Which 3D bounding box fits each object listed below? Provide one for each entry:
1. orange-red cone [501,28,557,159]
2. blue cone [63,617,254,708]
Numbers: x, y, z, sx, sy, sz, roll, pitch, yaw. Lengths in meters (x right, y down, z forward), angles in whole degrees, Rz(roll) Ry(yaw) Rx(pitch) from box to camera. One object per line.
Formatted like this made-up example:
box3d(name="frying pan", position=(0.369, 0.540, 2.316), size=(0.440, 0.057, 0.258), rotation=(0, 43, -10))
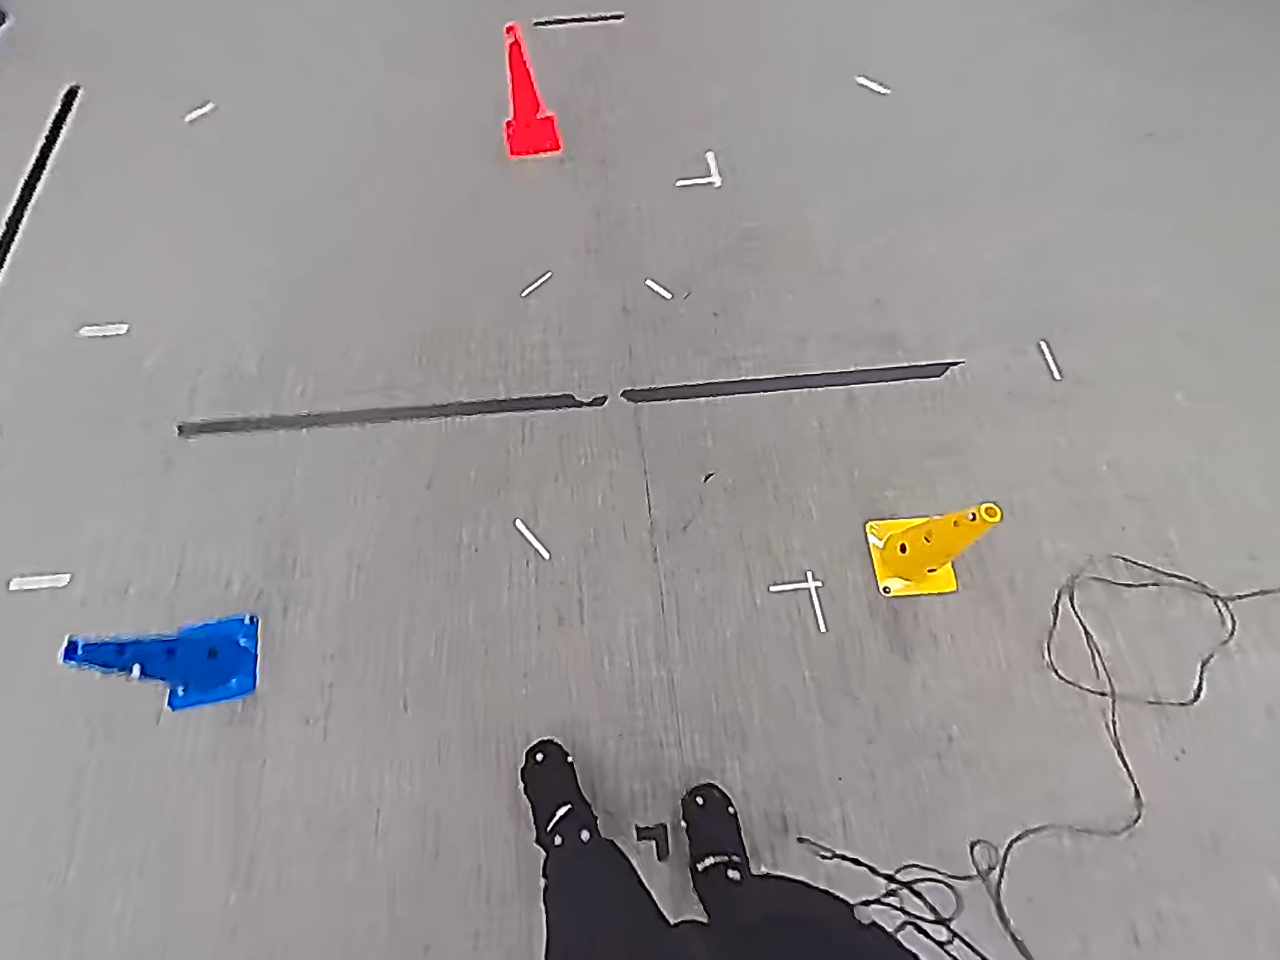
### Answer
box3d(name="orange-red cone", position=(-0.417, -1.339, 1.856), size=(0.199, 0.360, 0.198), rotation=(-10, 67, -2))
box3d(name="blue cone", position=(-1.041, 0.383, 1.164), size=(0.193, 0.380, 0.192), rotation=(-11, 68, -4))
